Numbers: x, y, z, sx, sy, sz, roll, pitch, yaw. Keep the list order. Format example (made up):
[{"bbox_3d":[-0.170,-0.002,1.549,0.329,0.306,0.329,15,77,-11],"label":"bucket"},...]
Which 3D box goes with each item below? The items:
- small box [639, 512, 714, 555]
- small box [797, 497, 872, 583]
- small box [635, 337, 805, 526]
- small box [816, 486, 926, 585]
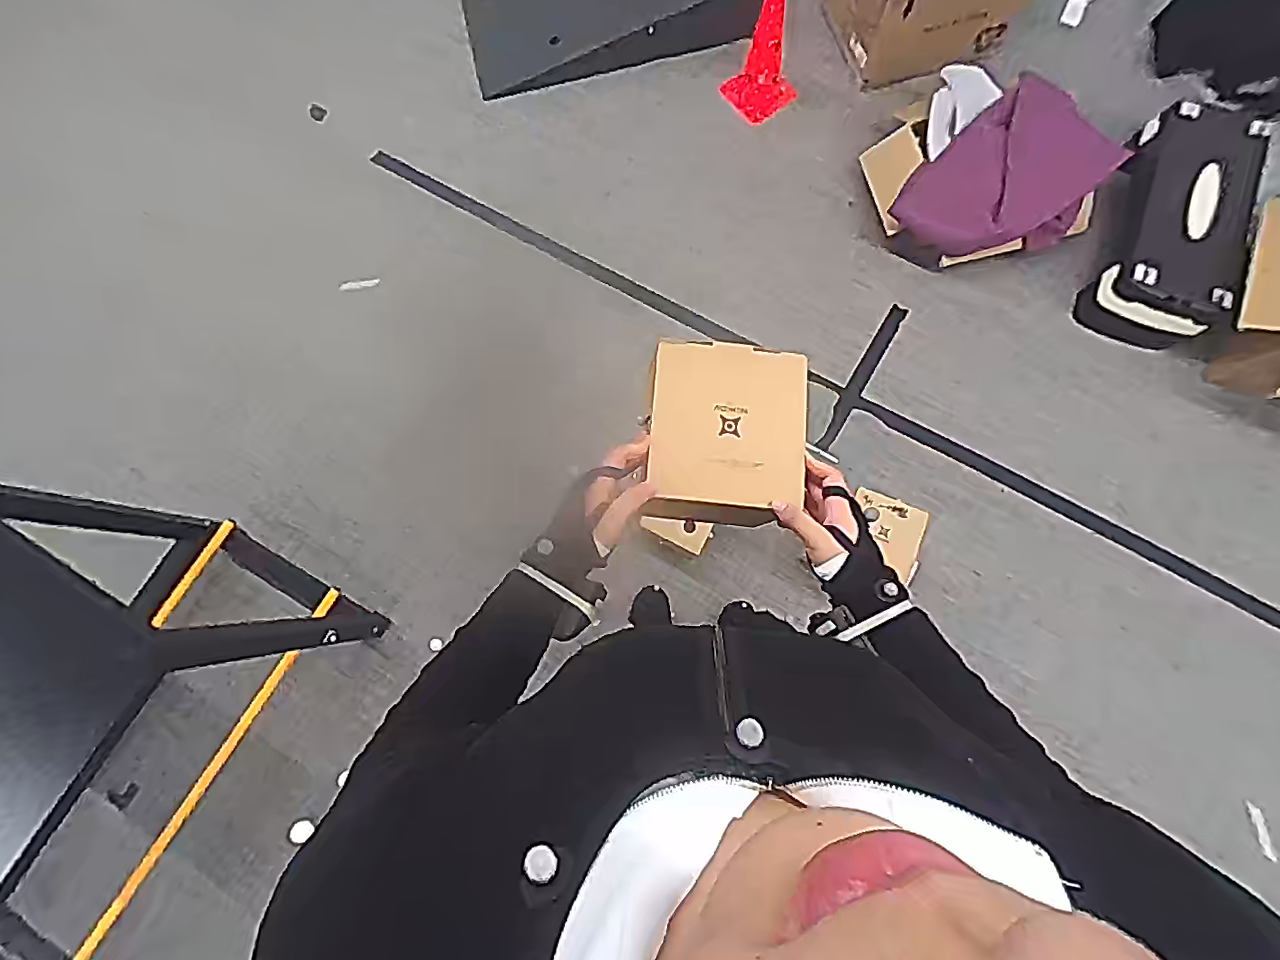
[{"bbox_3d":[0.110,0.096,1.466,0.179,0.176,0.168,27,81,7],"label":"small box"},{"bbox_3d":[0.547,0.162,1.441,0.179,0.176,0.168,24,80,6],"label":"small box"},{"bbox_3d":[0.085,-0.046,0.642,0.168,0.176,0.179,4,79,-4],"label":"small box"},{"bbox_3d":[0.536,0.136,1.279,0.168,0.176,0.179,23,81,6],"label":"small box"}]
